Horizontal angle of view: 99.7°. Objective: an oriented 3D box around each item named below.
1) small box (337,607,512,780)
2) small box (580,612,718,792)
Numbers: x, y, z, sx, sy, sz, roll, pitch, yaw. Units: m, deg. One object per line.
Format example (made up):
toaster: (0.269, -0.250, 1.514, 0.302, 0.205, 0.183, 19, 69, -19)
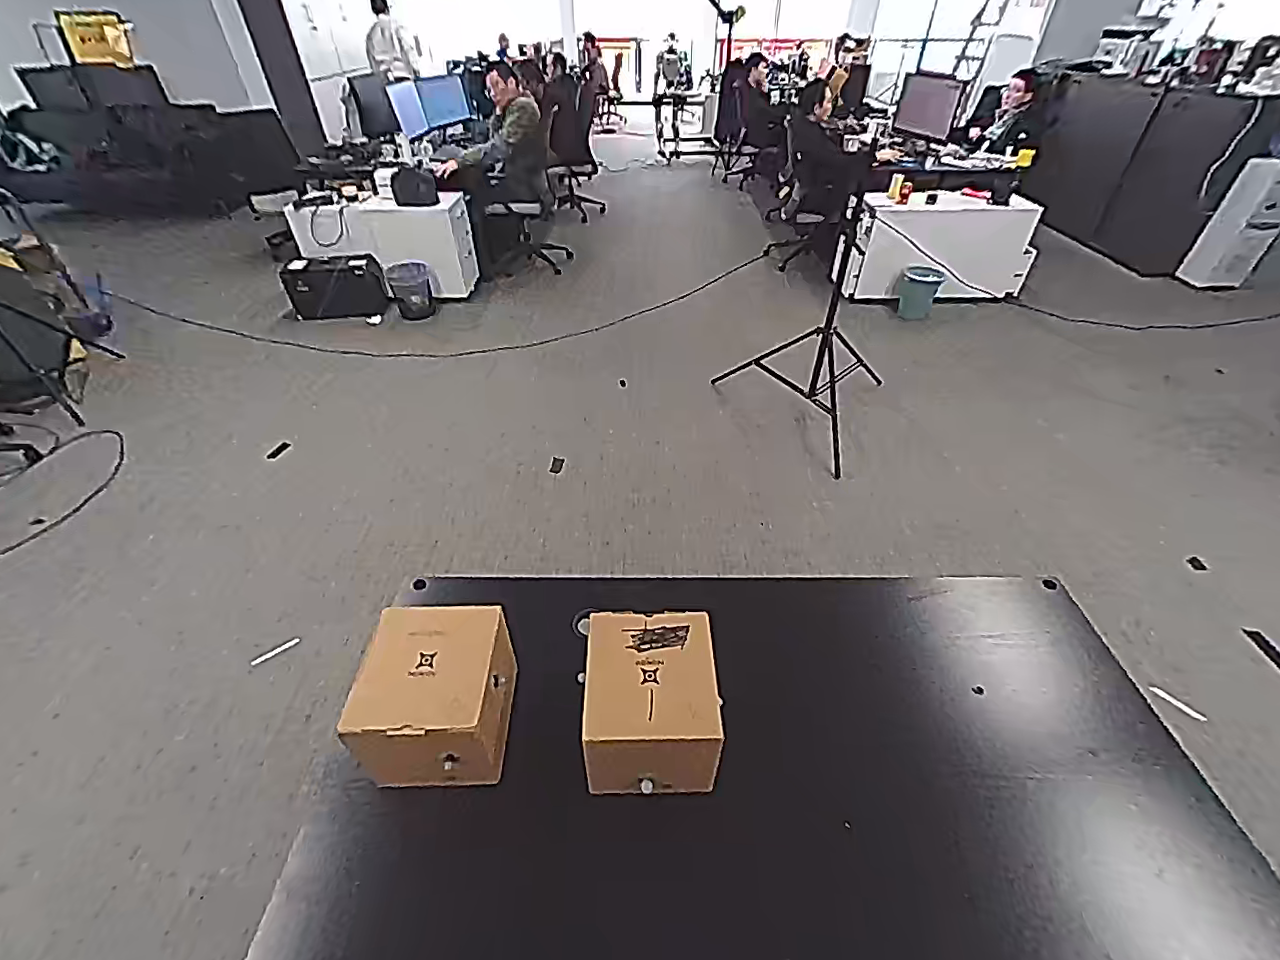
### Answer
small box: (-0.278, 0.298, 0.749, 0.168, 0.176, 0.179, 0, 40, -2)
small box: (0.009, 0.302, 0.743, 0.168, 0.176, 0.179, -1, 42, -1)
